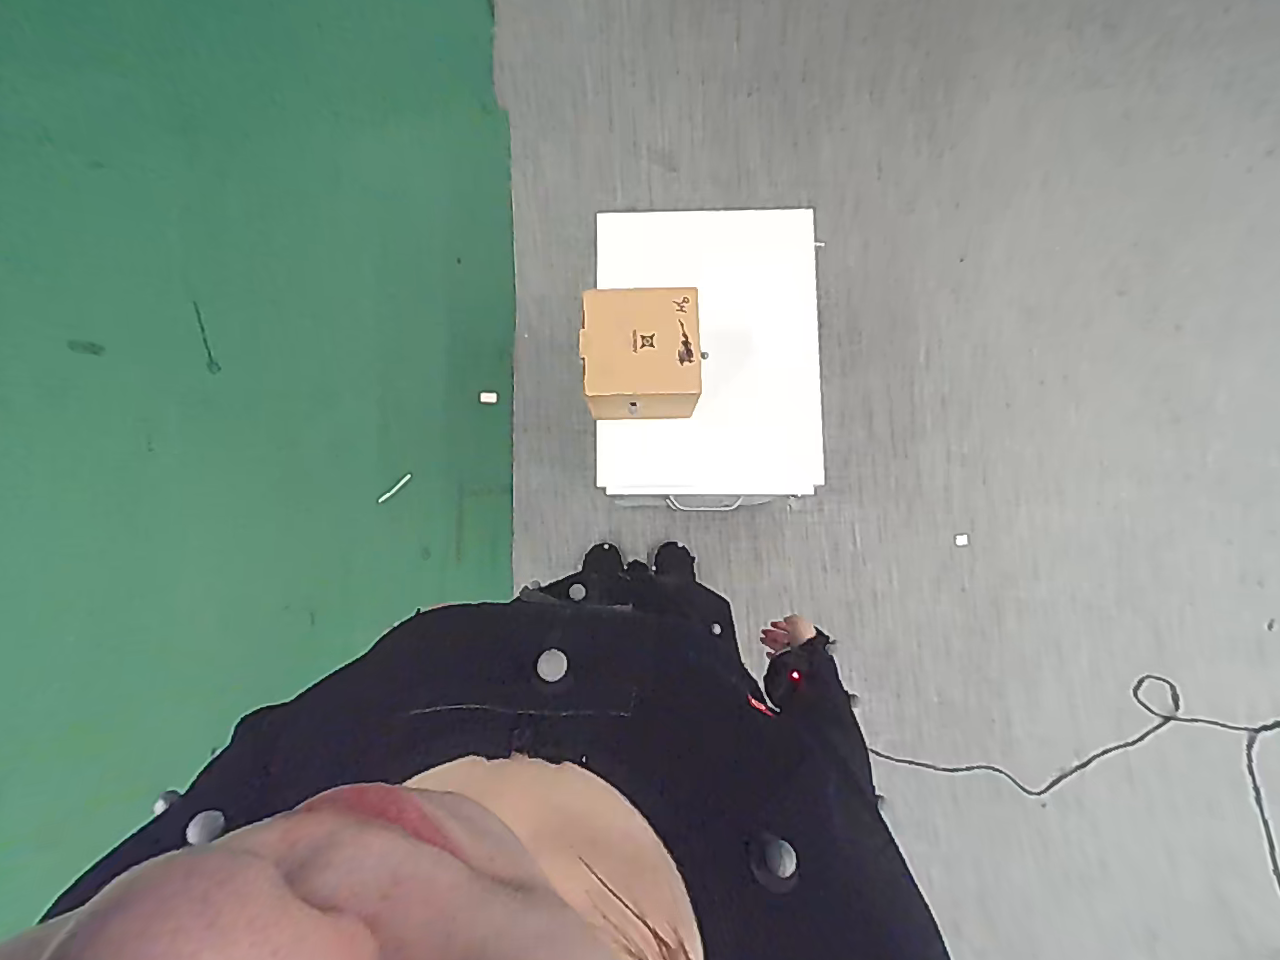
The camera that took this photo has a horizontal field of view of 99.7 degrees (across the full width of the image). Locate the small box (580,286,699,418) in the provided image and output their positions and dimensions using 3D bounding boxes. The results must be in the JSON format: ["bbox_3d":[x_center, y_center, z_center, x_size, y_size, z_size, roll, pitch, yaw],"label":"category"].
[{"bbox_3d":[-0.001,-0.199,0.878,0.179,0.176,0.168,-1,84,0],"label":"small box"}]
